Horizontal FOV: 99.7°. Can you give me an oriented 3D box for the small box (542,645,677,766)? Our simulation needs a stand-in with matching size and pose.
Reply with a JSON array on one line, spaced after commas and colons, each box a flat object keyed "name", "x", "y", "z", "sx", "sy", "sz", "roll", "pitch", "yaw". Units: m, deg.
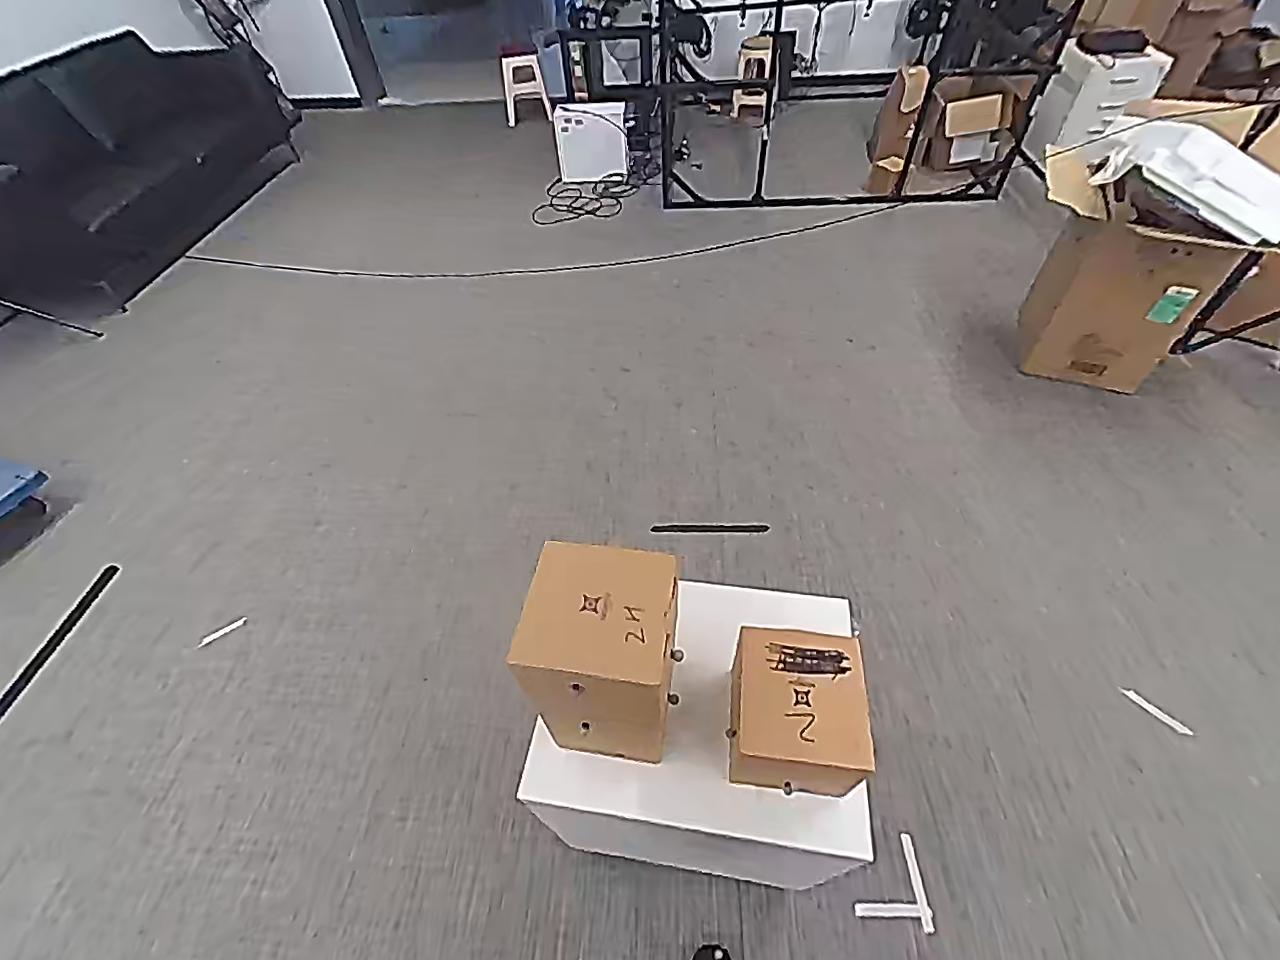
[{"name": "small box", "x": -0.036, "y": 0.307, "z": 0.820, "sx": 0.168, "sy": 0.176, "sz": 0.179, "roll": 6, "pitch": 49, "yaw": 9}]

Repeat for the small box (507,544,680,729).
[{"name": "small box", "x": -0.045, "y": 0.203, "z": 0.692, "sx": 0.179, "sy": 0.176, "sz": 0.168, "roll": 6, "pitch": 51, "yaw": 8}]
